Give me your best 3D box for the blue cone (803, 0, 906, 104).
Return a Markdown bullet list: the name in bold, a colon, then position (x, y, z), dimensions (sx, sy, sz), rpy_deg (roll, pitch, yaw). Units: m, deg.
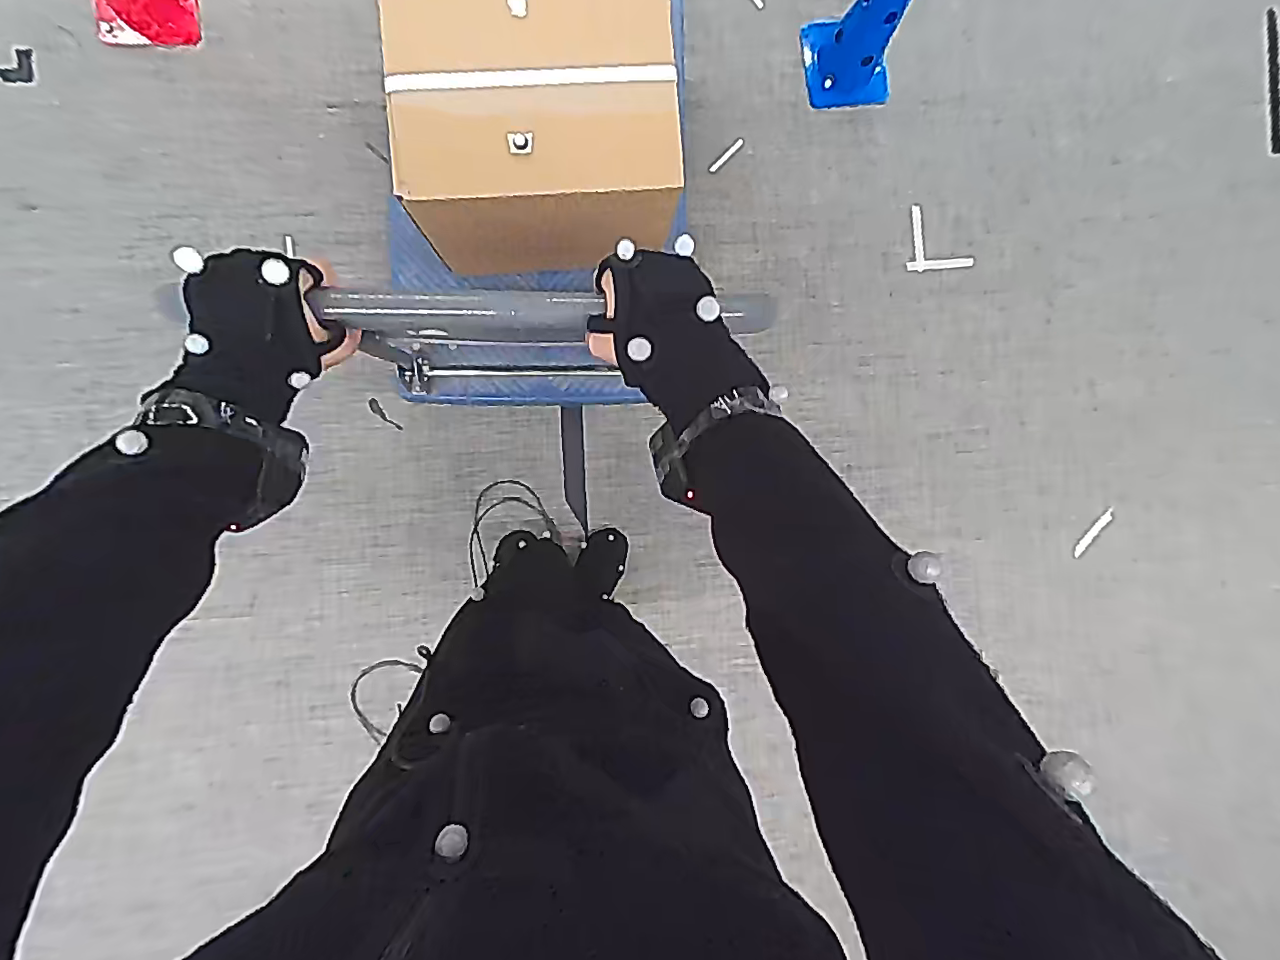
- **blue cone**: position (0.504, -0.992, 1.123), dimensions (0.193, 0.380, 0.192), rpy_deg (-7, 91, -5)
